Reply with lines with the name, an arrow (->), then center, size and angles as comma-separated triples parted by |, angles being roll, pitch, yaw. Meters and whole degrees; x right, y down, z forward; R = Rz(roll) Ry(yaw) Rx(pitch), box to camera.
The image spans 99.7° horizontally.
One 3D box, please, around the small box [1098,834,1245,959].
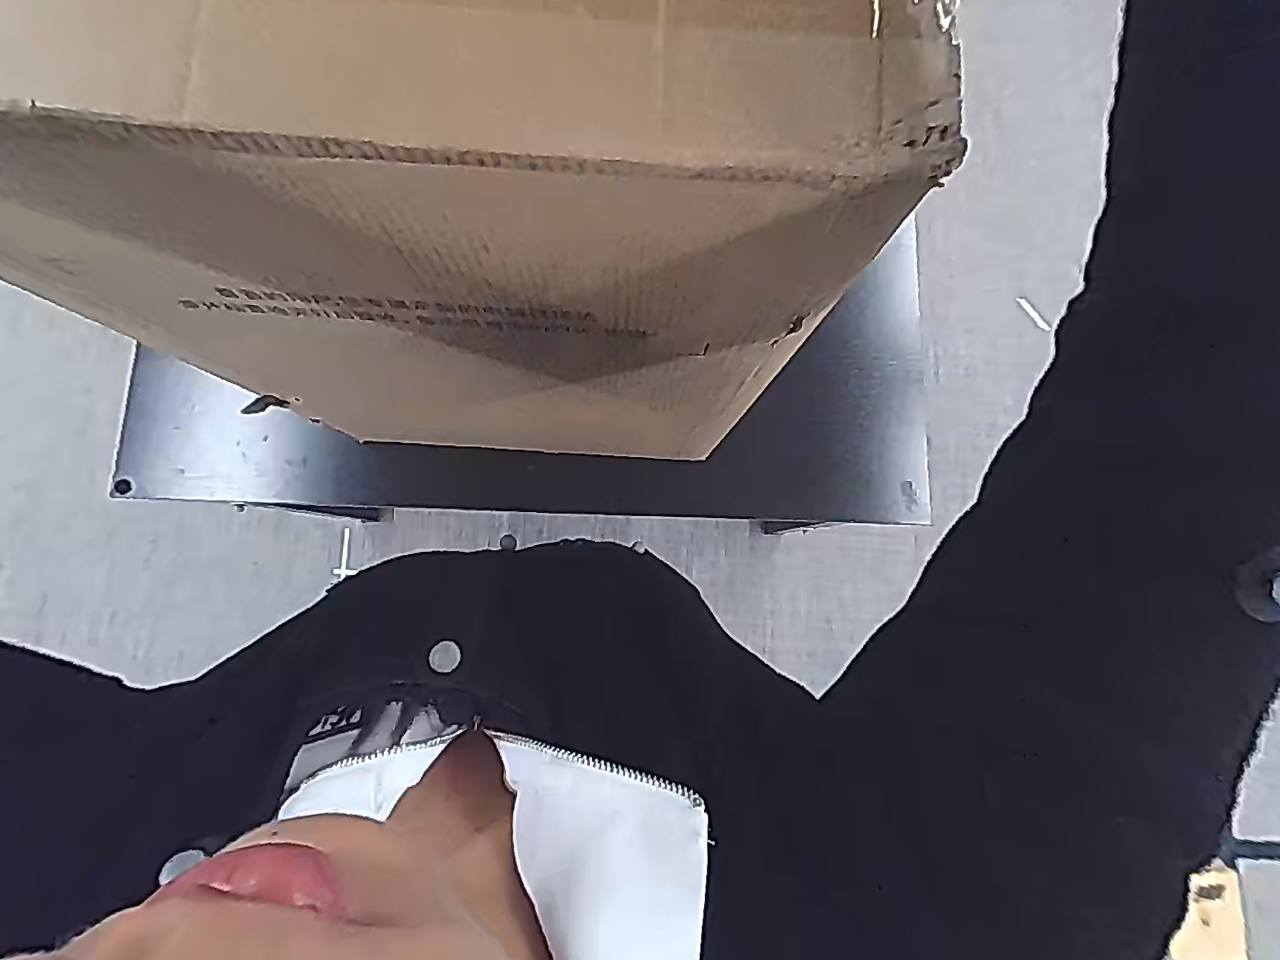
small box -> 1.177, 0.926, 1.213 | 0.168, 0.176, 0.179 | 2, 82, -2
